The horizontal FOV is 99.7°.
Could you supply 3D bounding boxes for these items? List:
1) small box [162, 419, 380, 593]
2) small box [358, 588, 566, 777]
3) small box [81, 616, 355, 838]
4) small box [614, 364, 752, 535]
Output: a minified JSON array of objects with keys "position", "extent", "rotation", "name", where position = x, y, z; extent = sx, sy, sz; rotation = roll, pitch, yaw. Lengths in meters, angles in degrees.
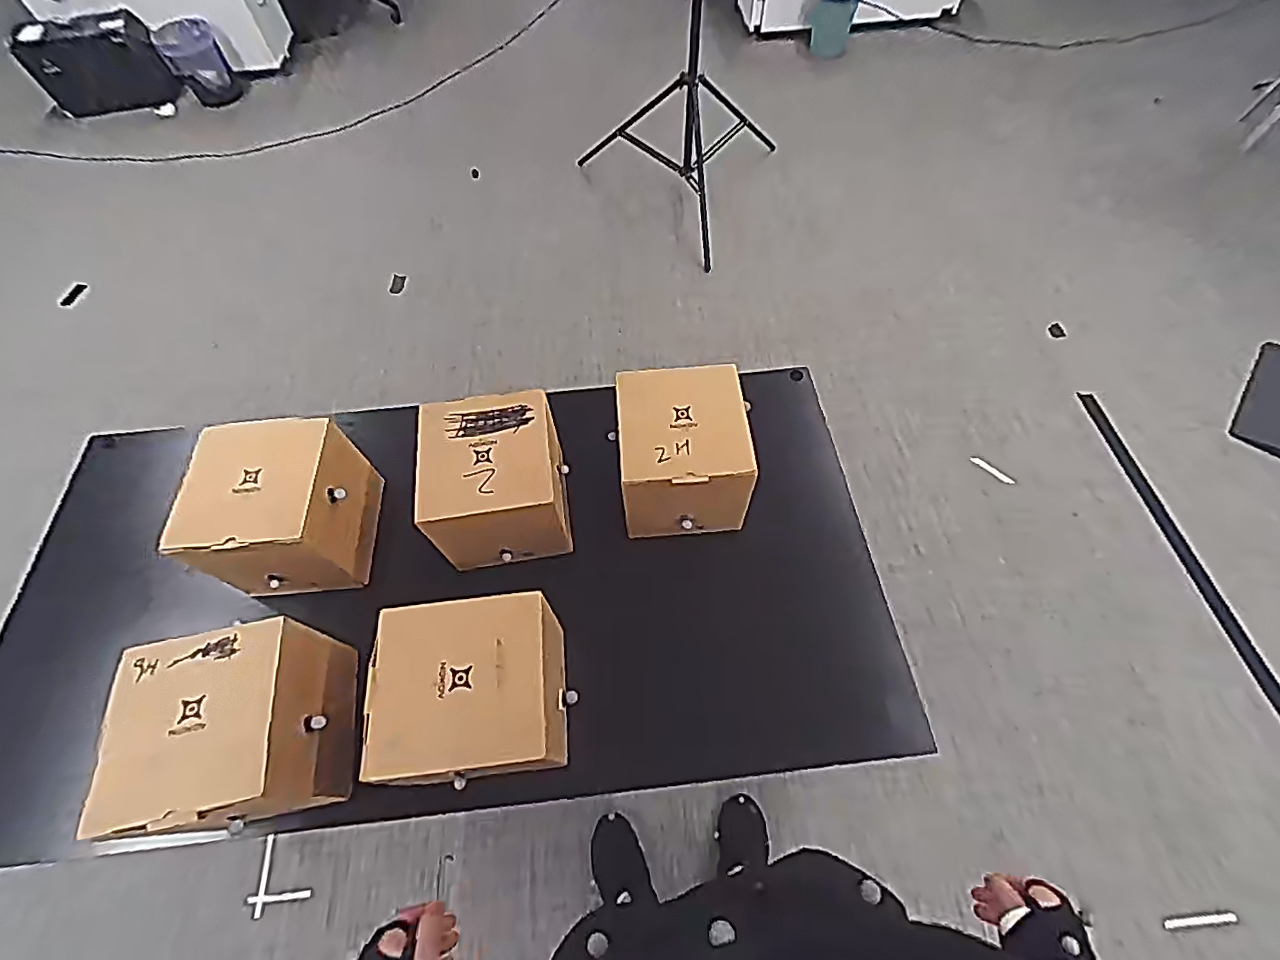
[{"position":[-0.478,0.039,0.737],"extent":[0.168,0.176,0.179],"rotation":[-5,61,-1],"name":"small box"},{"position":[-0.186,0.236,0.617],"extent":[0.179,0.176,0.168],"rotation":[-7,61,-3],"name":"small box"},{"position":[-0.440,0.272,0.603],"extent":[0.168,0.176,0.179],"rotation":[-11,61,-5],"name":"small box"},{"position":[0.052,-0.038,0.762],"extent":[0.168,0.176,0.179],"rotation":[-5,60,0],"name":"small box"}]
